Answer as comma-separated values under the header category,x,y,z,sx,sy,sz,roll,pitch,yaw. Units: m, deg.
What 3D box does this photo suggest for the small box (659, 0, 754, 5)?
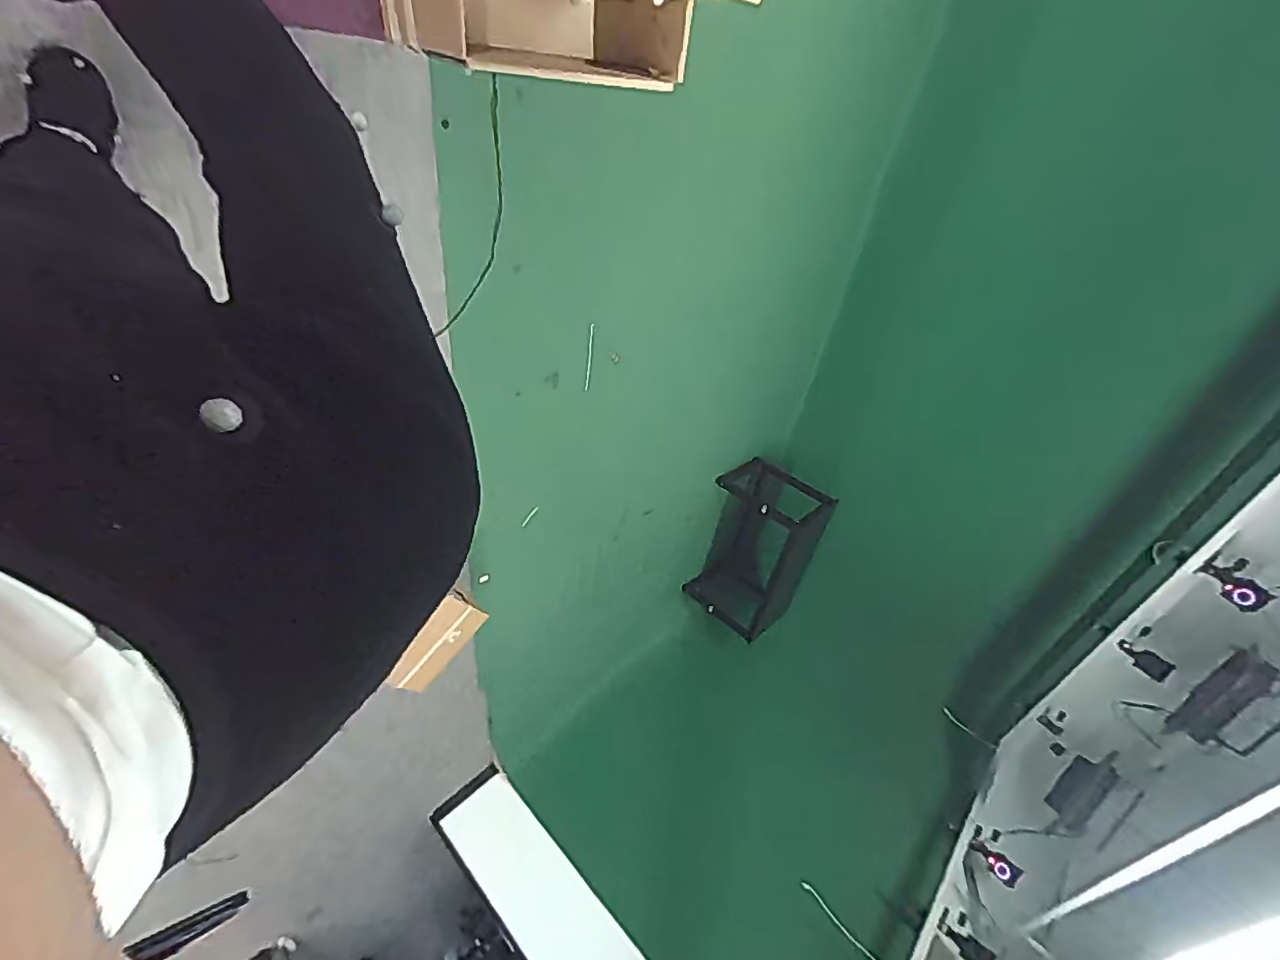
category,x,y,z,sx,sy,sz,roll,pitch,yaw
small box,0.034,-0.660,0.604,0.168,0.176,0.179,-27,138,-37

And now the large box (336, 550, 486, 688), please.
category,x,y,z,sx,sy,sz,roll,pitch,yaw
large box,-0.922,0.564,2.195,0.408,0.320,0.320,-50,150,-12
